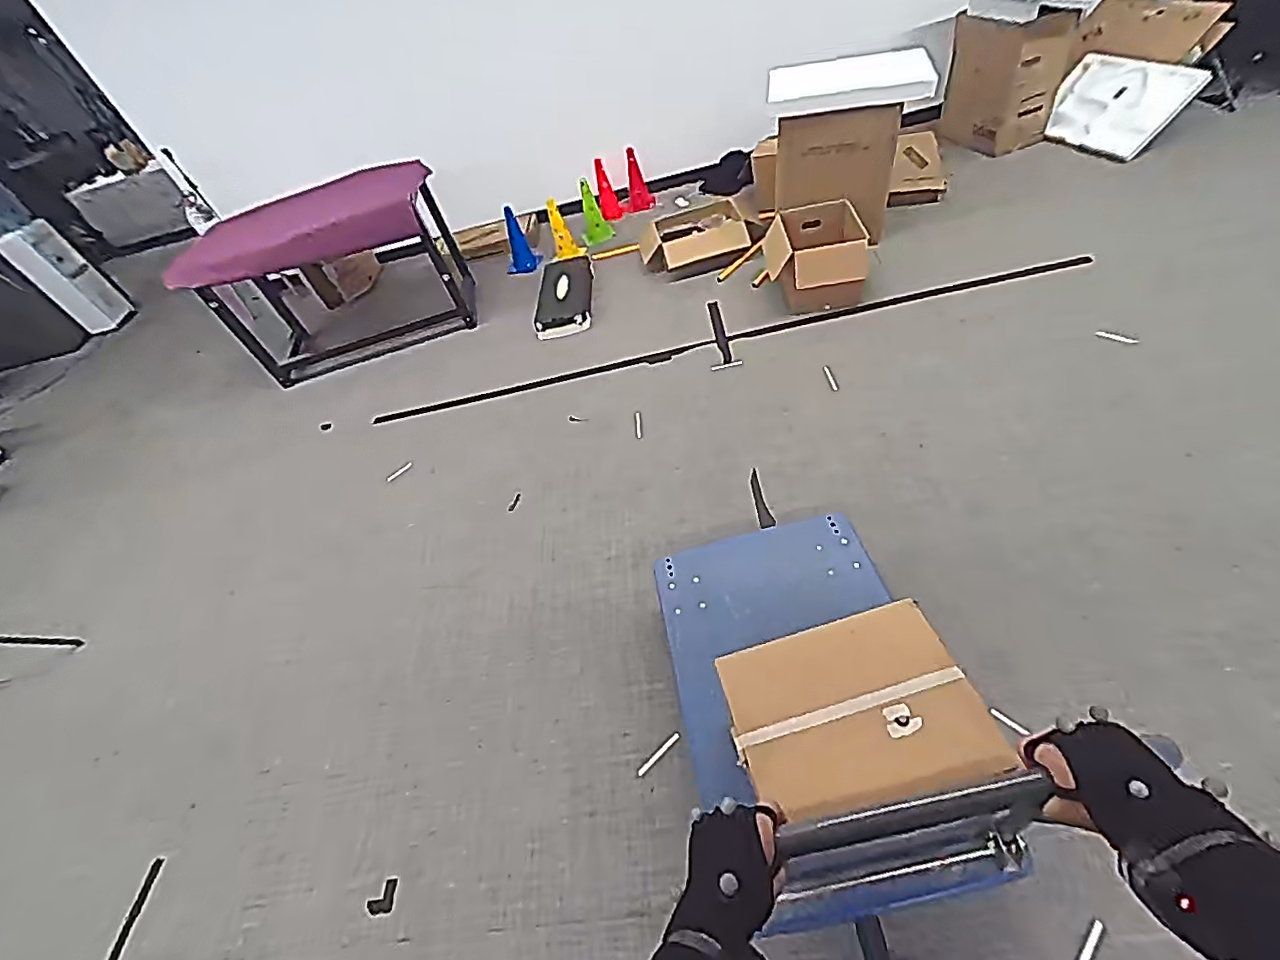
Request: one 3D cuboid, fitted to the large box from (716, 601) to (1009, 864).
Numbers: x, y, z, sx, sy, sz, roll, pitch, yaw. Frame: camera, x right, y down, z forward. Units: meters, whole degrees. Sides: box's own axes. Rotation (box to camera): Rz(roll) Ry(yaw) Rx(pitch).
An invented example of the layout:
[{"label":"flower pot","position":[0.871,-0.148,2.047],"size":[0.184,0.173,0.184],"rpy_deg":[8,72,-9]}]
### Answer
[{"label":"large box","position":[0.398,0.501,1.066],"size":[0.408,0.320,0.320],"rpy_deg":[-18,48,0]}]
